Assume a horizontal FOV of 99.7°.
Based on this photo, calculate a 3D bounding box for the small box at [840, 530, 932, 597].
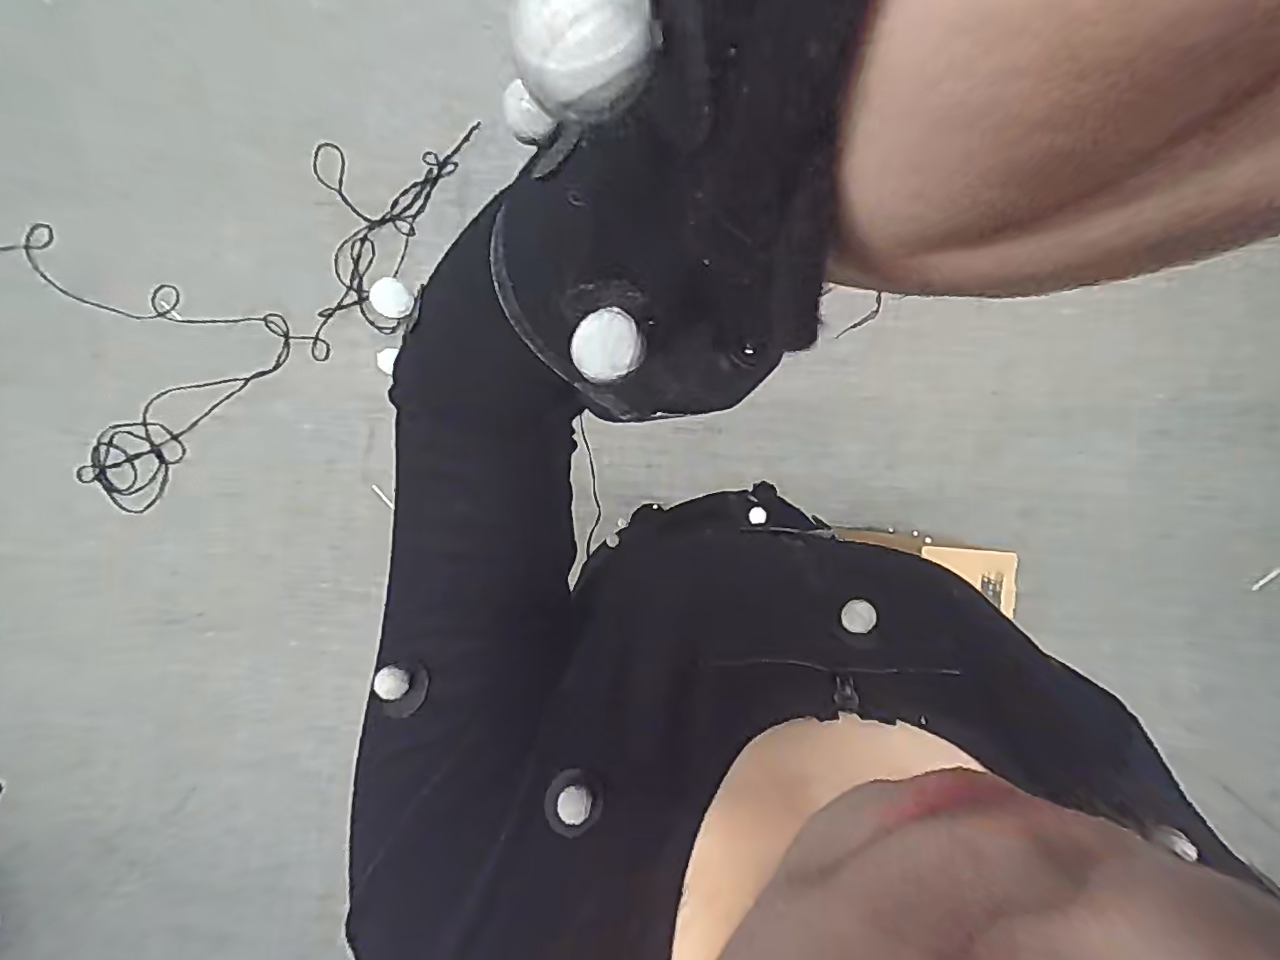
[{"bbox_3d":[0.634,0.219,1.405,0.179,0.176,0.168,4,89,2],"label":"small box"}]

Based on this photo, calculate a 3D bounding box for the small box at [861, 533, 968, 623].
[{"bbox_3d":[0.621,0.216,1.241,0.168,0.176,0.179,4,89,3],"label":"small box"}]
